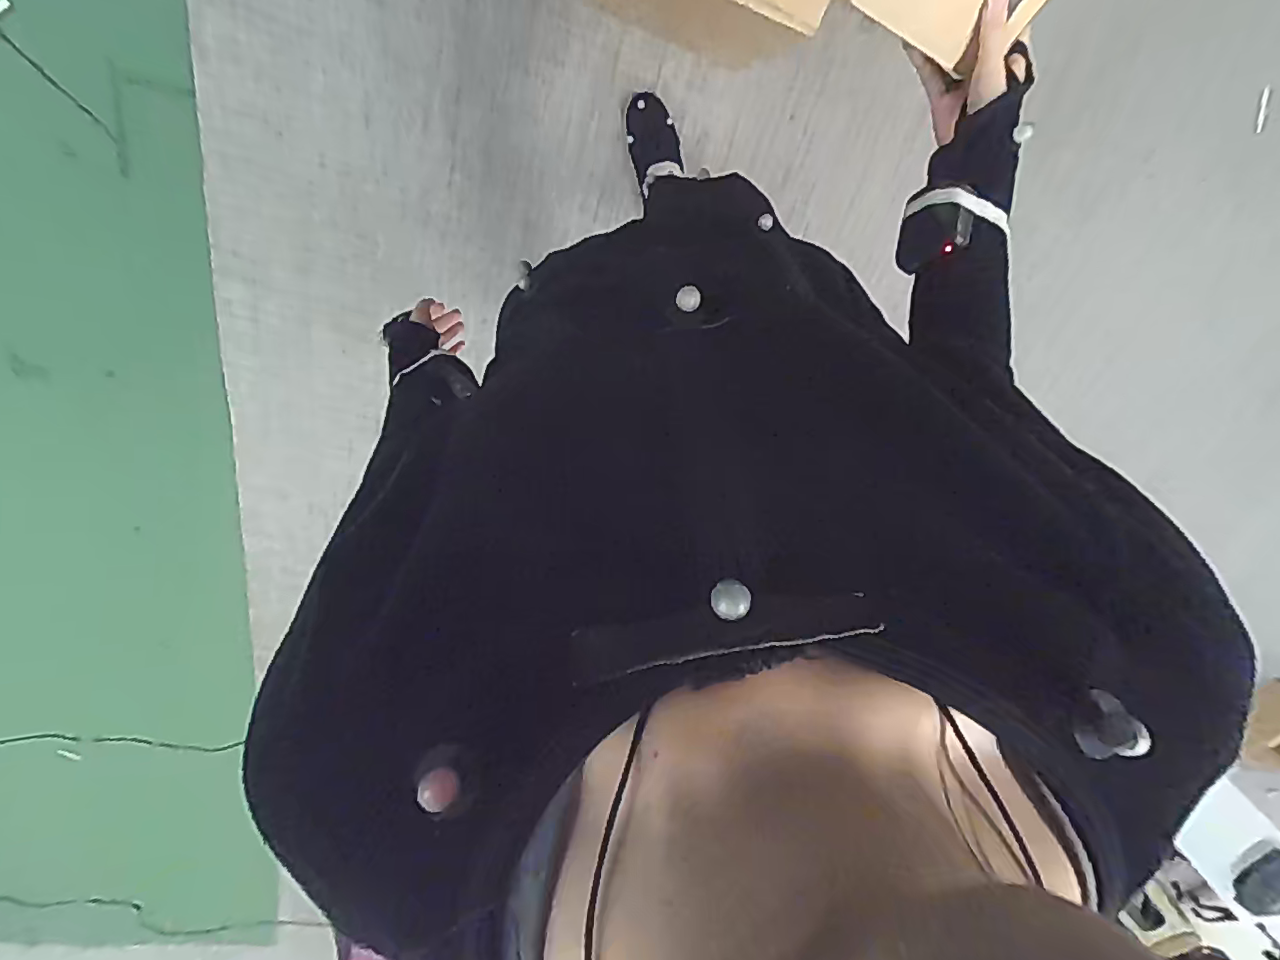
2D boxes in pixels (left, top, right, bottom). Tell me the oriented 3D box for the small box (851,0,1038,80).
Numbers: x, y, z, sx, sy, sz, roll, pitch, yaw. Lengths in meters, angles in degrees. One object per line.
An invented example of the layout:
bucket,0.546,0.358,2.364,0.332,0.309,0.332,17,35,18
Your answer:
small box,0.245,-0.479,0.437,0.179,0.176,0.168,4,143,-27
